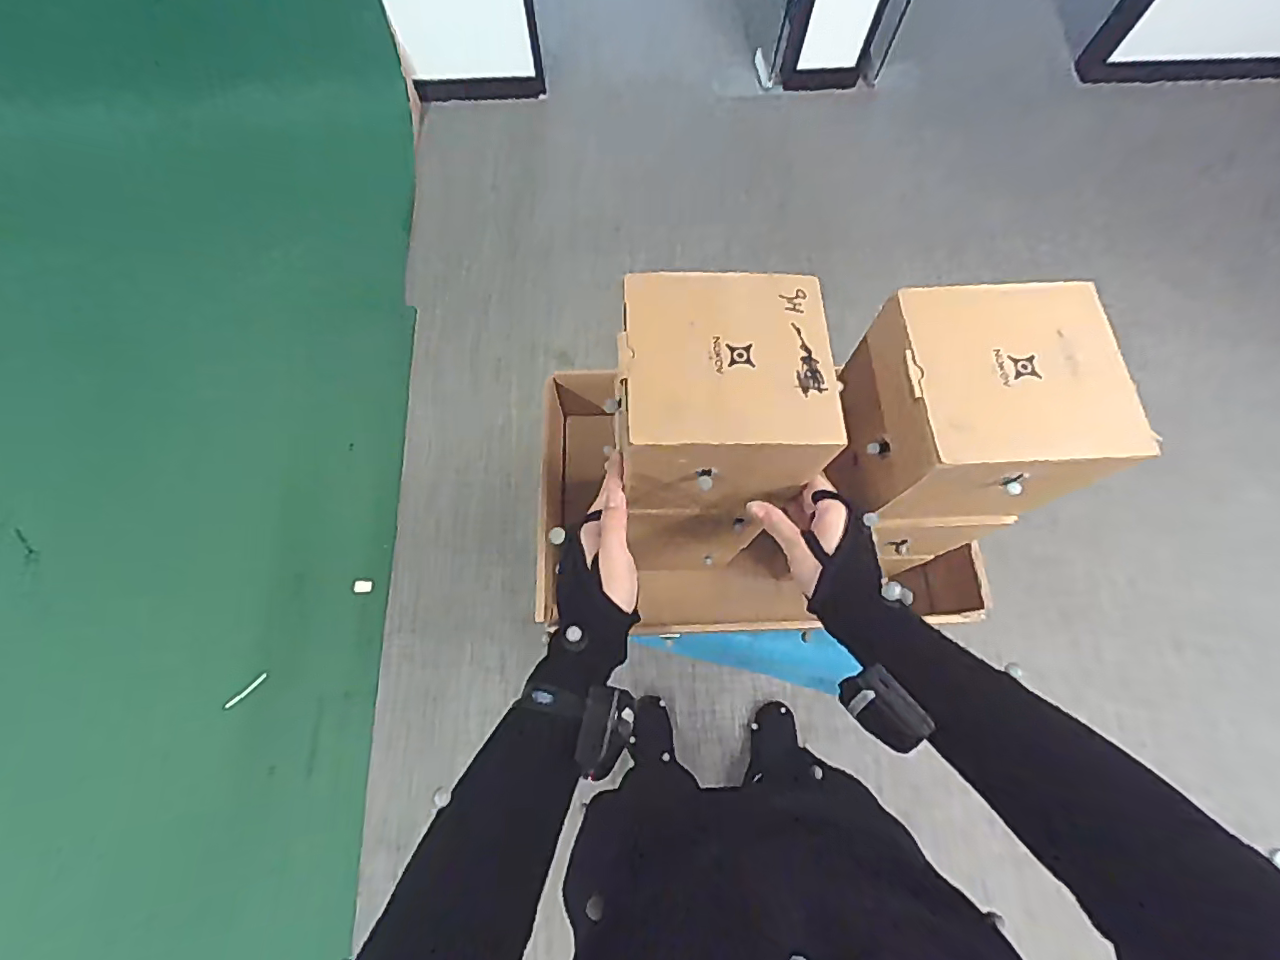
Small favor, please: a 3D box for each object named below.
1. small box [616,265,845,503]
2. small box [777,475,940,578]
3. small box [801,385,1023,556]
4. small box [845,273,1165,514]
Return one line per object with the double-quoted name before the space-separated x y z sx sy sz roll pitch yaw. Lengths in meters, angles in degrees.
"small box" 0.068 -0.079 0.514 0.179 0.176 0.168 -1 70 -2
"small box" 0.309 0.052 0.812 0.179 0.176 0.168 -1 70 1
"small box" 0.308 -0.006 0.659 0.179 0.176 0.168 -3 69 1
"small box" 0.308 -0.069 0.508 0.179 0.176 0.168 -2 70 0
